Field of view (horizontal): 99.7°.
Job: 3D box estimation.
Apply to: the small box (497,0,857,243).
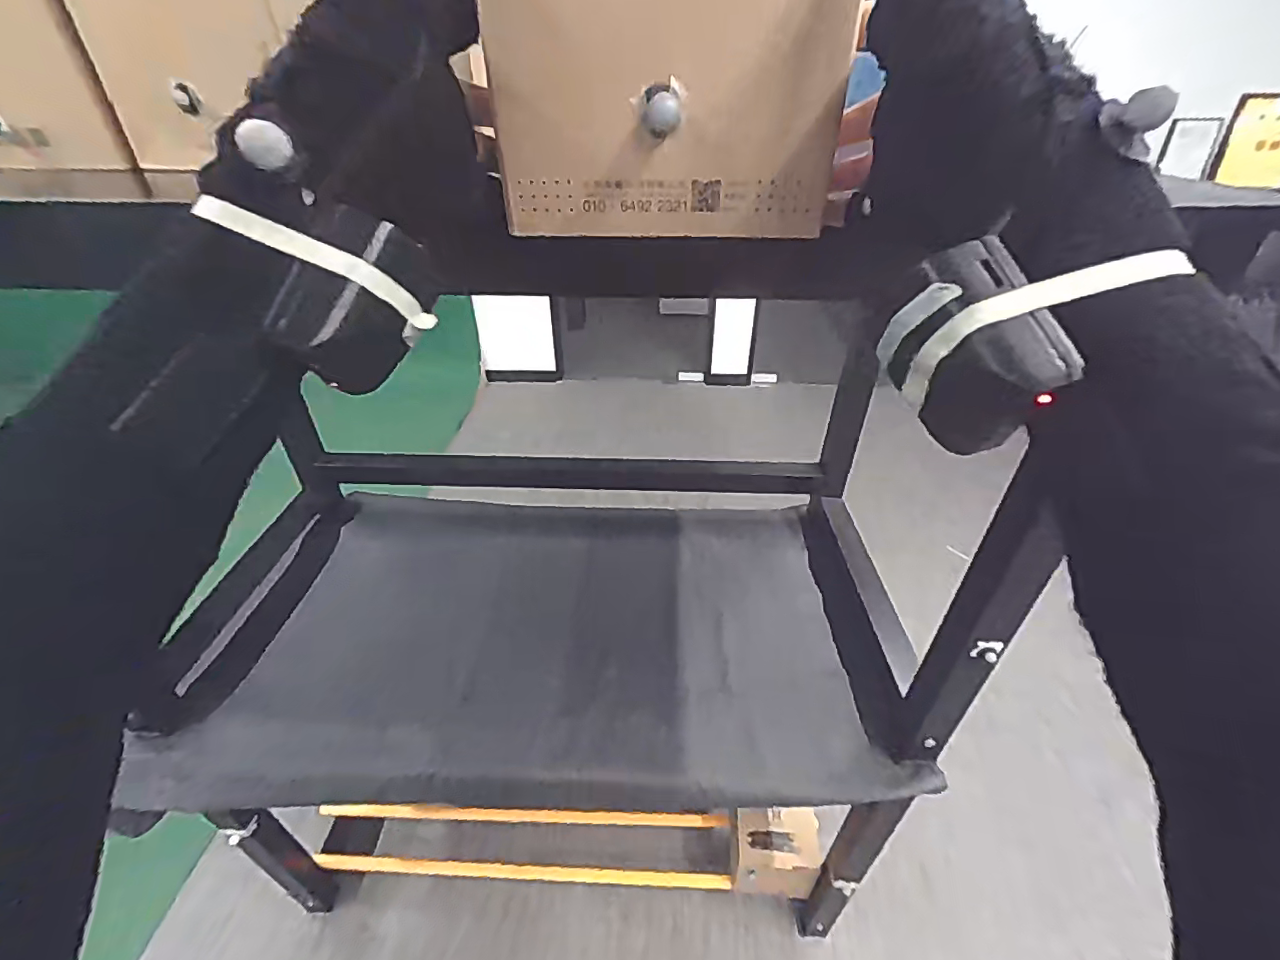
[{"bbox_3d":[0.018,-0.248,0.312,0.168,0.176,0.179,1,38,3],"label":"small box"}]
